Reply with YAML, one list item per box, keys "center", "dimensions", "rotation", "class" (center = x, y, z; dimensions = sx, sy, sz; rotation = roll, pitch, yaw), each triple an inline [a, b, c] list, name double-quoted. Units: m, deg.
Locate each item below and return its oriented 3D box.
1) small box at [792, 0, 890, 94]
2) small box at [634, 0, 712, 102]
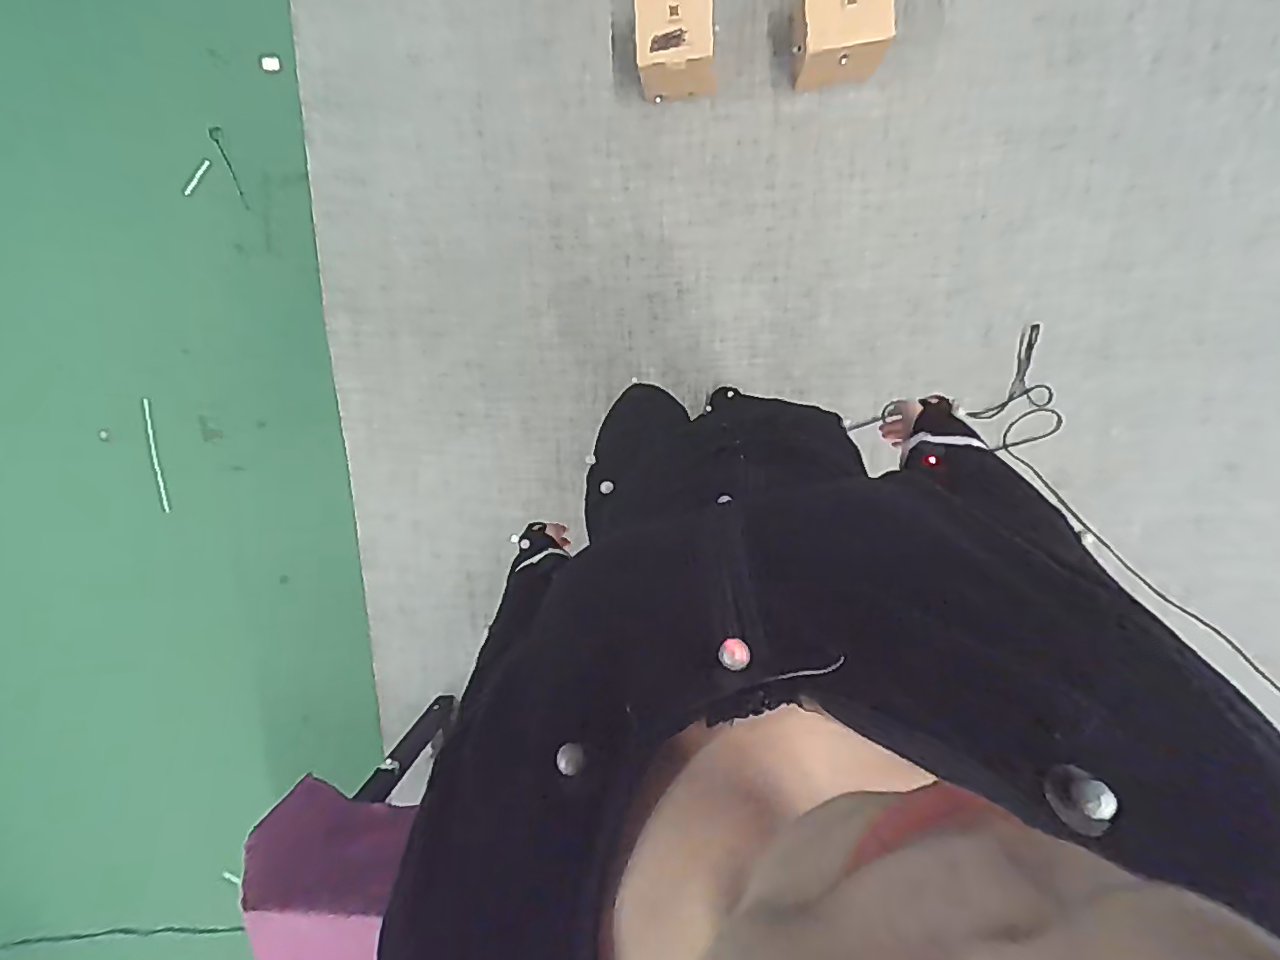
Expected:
- center: [0.431, -0.981, 1.182]
  dimensions: [0.179, 0.176, 0.168]
  rotation: [-3, 101, 8]
  class: "small box"
- center: [0.080, -0.991, 1.227]
  dimensions: [0.168, 0.176, 0.179]
  rotation: [-1, 100, 8]
  class: "small box"
